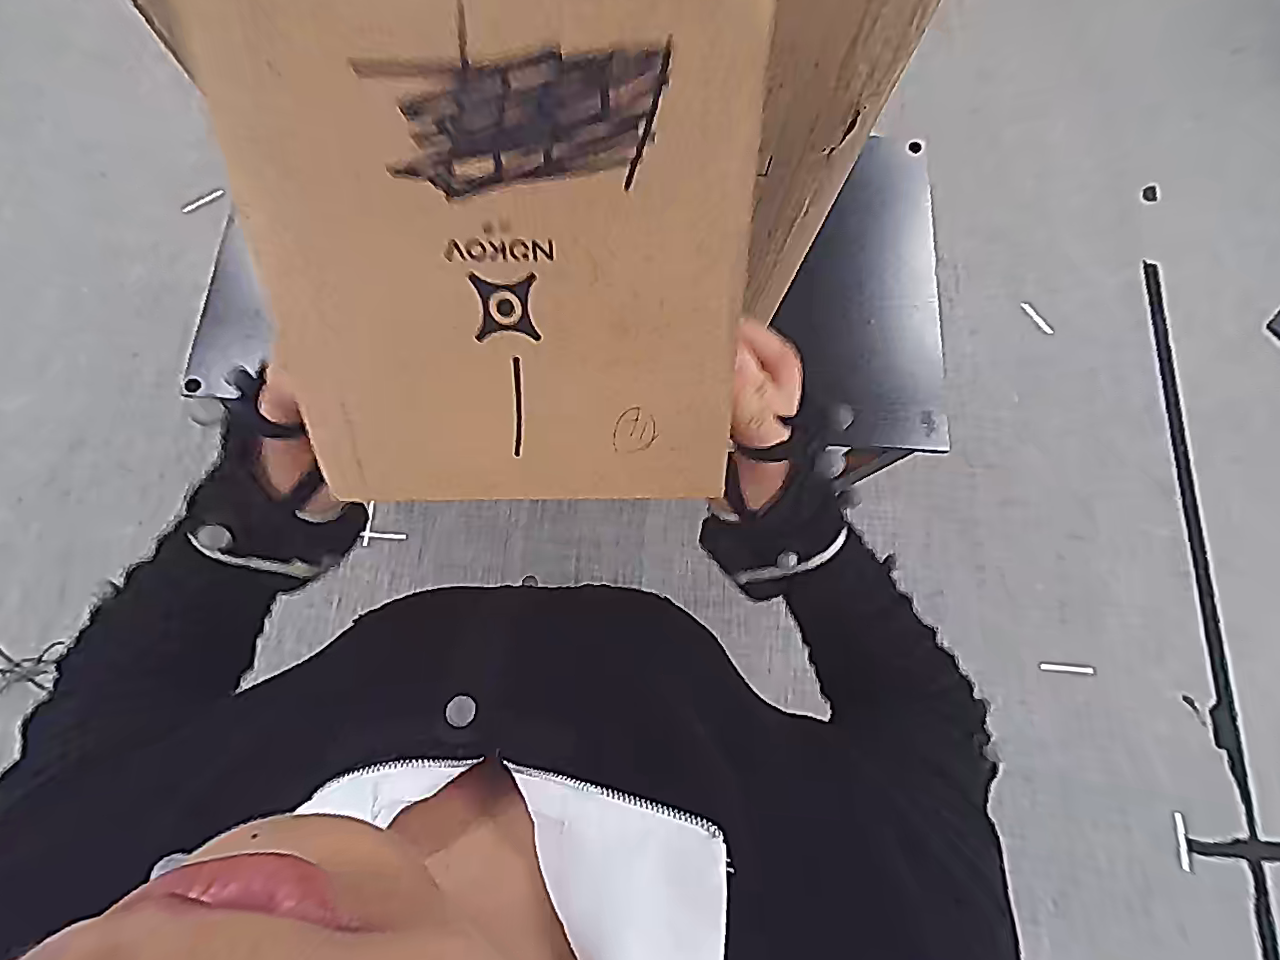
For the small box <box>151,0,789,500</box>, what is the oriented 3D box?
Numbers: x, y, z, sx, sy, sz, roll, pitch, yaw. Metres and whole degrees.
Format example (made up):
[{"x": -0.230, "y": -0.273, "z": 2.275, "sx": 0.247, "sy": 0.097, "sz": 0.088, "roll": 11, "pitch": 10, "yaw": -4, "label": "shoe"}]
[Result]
[{"x": -0.046, "y": -0.108, "z": 0.240, "sx": 0.168, "sy": 0.176, "sz": 0.179, "roll": 0, "pitch": 121, "yaw": -1, "label": "small box"}]
